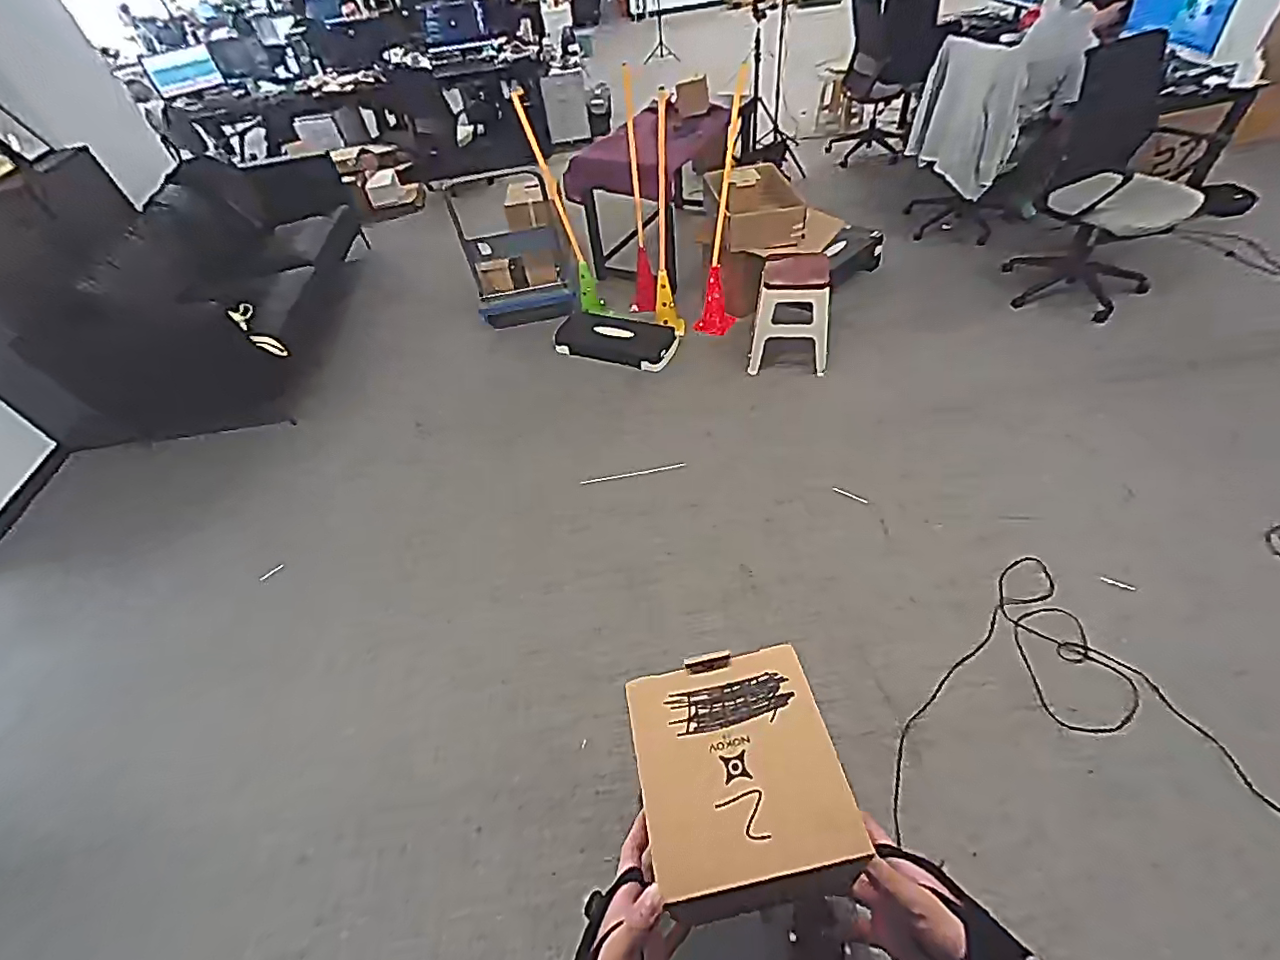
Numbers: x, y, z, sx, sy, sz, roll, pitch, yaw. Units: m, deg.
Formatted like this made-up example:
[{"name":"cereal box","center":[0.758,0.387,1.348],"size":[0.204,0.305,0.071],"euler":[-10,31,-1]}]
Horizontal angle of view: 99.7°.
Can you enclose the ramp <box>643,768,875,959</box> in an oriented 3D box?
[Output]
[{"name":"ramp","center":[0.293,1.164,1.151],"size":[0.509,0.206,0.991],"euler":[-12,47,0]}]
